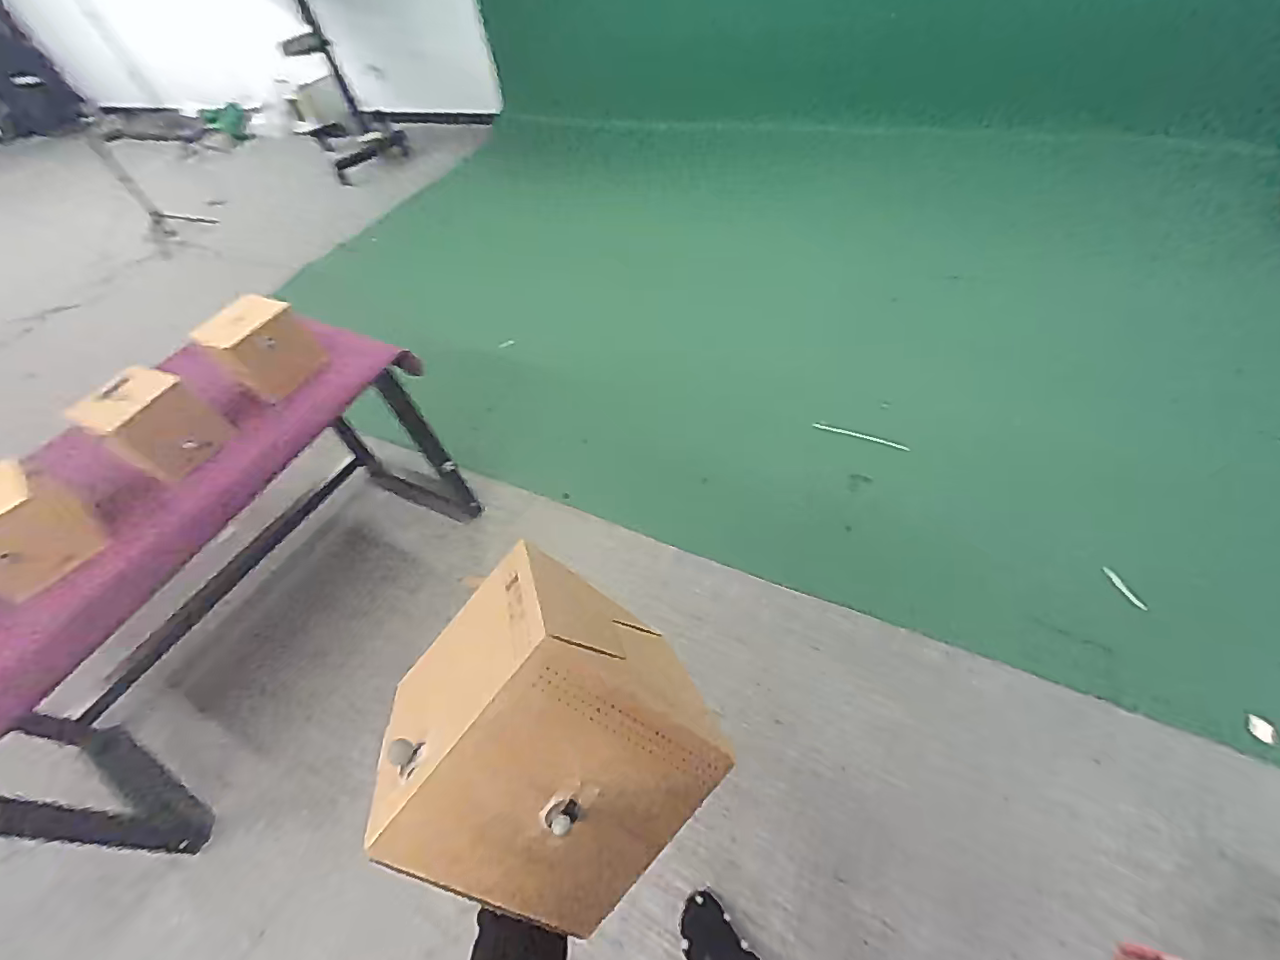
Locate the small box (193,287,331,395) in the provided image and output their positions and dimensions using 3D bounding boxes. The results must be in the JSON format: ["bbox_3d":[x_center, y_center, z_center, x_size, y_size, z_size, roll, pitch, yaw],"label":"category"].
[{"bbox_3d":[-0.894,-0.330,1.295,0.168,0.176,0.179,21,58,25],"label":"small box"}]

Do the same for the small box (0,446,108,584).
[{"bbox_3d":[-1.179,0.074,1.029,0.179,0.176,0.168,32,64,30],"label":"small box"}]

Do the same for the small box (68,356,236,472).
[{"bbox_3d":[-1.045,-0.140,1.172,0.179,0.176,0.168,16,57,21],"label":"small box"}]
